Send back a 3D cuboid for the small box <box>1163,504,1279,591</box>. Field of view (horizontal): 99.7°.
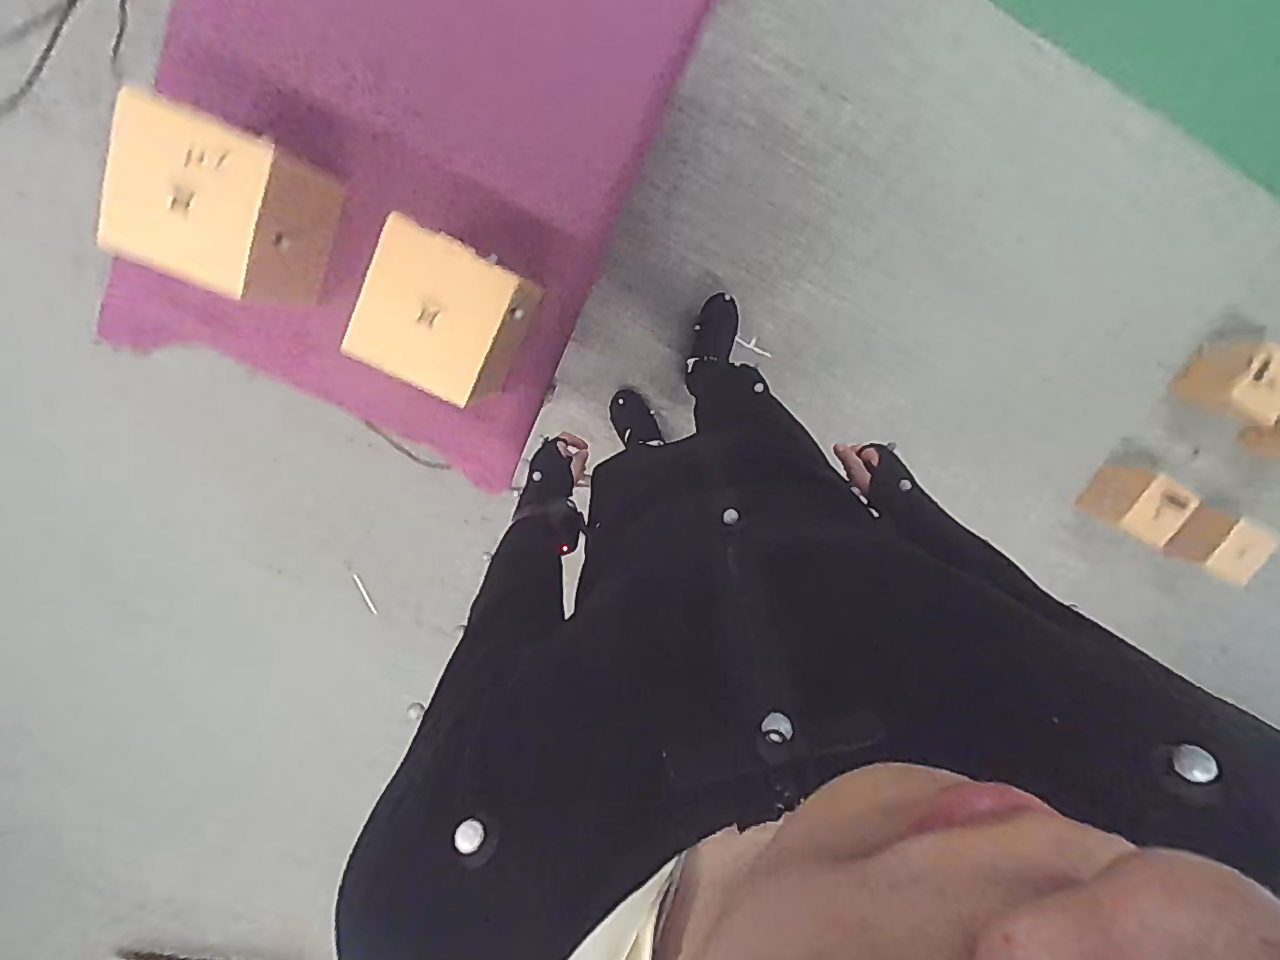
[{"bbox_3d":[1.758,0.200,1.635,0.168,0.176,0.179,25,102,-9],"label":"small box"}]

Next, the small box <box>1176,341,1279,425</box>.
[{"bbox_3d":[1.685,-0.273,1.514,0.179,0.176,0.168,27,102,-9],"label":"small box"}]

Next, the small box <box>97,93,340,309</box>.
[{"bbox_3d":[-0.516,-0.331,0.687,0.168,0.176,0.179,21,102,-7],"label":"small box"}]

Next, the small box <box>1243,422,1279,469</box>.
[{"bbox_3d":[1.931,-0.126,1.559,0.168,0.176,0.179,29,101,-8],"label":"small box"}]

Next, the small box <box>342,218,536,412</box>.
[{"bbox_3d":[-0.254,-0.211,0.725,0.168,0.176,0.179,25,101,-6],"label":"small box"}]
